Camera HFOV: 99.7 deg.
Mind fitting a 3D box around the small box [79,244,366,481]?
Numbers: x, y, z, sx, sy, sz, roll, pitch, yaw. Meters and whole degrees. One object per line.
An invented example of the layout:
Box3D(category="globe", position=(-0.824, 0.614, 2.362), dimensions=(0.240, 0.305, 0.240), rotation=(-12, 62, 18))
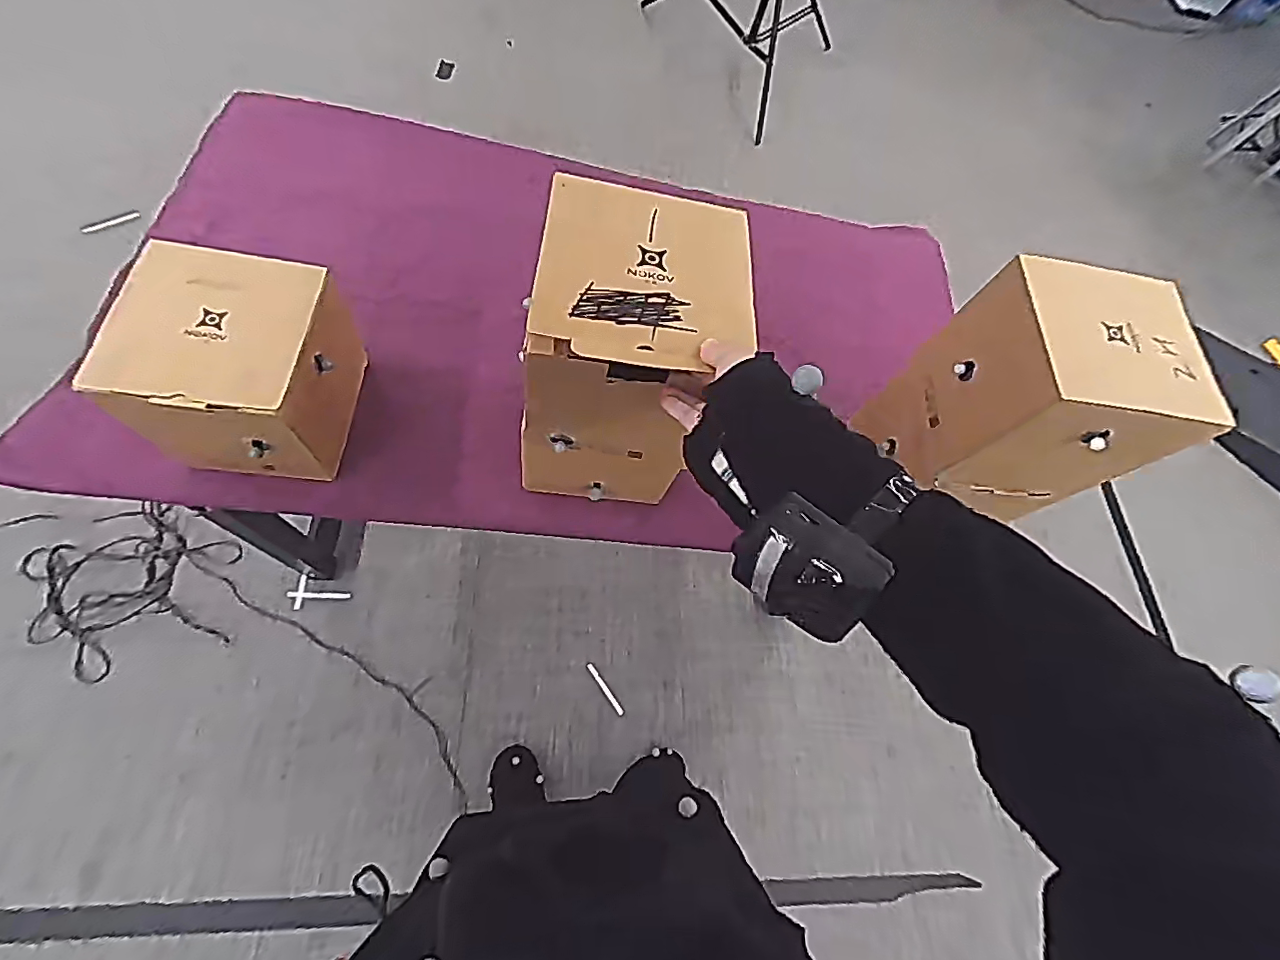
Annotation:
Box3D(category="small box", position=(-0.413, -0.112, 0.578), dimensions=(0.168, 0.176, 0.179), rotation=(6, 65, -11))

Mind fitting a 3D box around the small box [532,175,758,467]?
Box3D(category="small box", position=(-0.002, -0.127, 0.486), dimensions=(0.168, 0.176, 0.179), rotation=(8, 66, -9))

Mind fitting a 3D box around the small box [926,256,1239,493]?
Box3D(category="small box", position=(0.426, -0.096, 0.562), dimensions=(0.179, 0.176, 0.168), rotation=(7, 66, -8))

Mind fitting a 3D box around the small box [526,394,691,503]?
Box3D(category="small box", position=(-0.038, -0.079, 0.642), dimensions=(0.179, 0.176, 0.168), rotation=(6, 67, -10))
